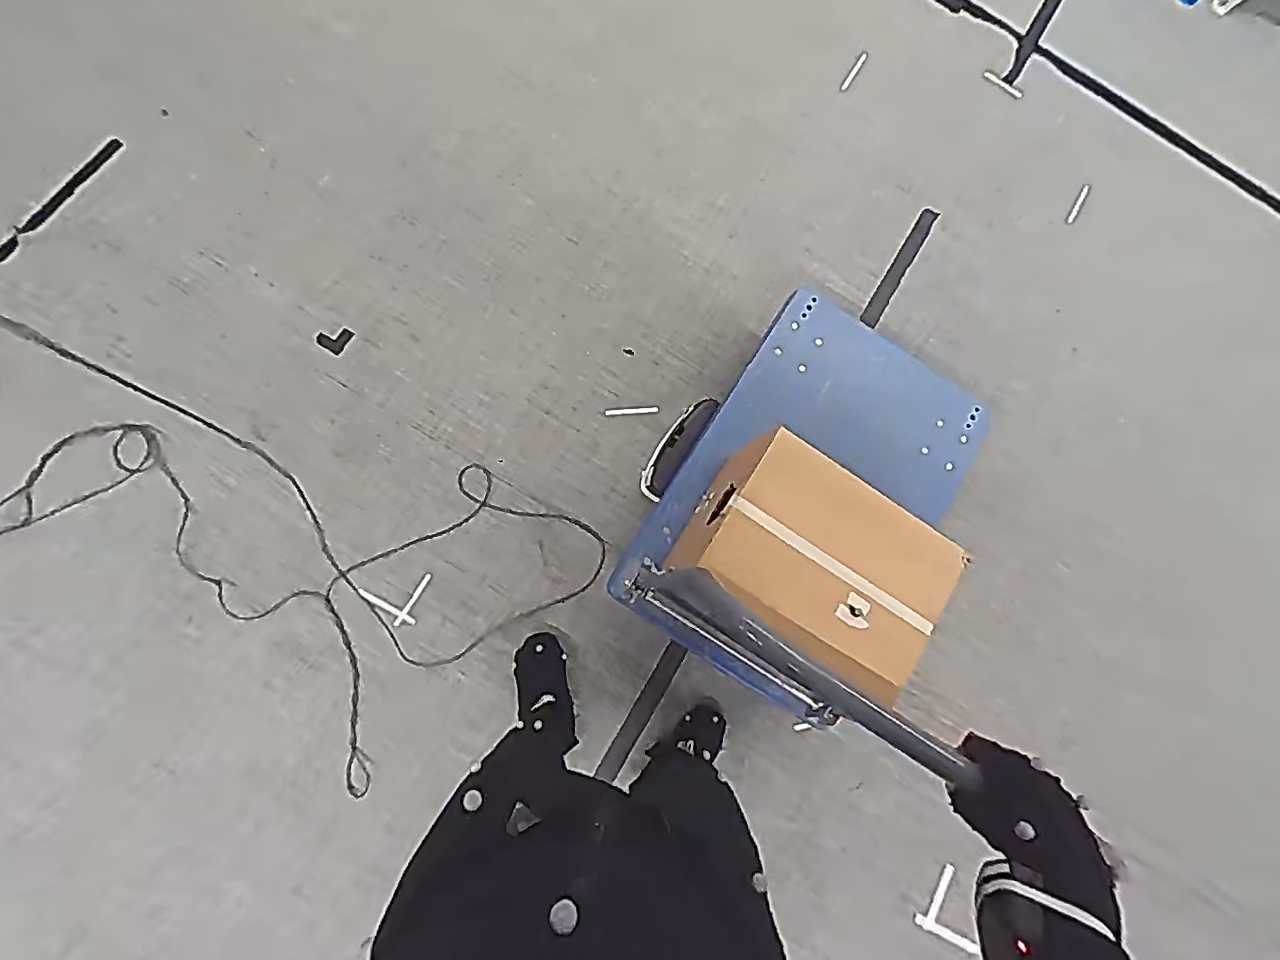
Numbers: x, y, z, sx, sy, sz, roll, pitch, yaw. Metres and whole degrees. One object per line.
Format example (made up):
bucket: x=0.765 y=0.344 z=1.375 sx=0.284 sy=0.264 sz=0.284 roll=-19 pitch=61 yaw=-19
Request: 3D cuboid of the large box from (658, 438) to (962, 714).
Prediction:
large box: x=0.298 y=0.176 z=1.052 sx=0.408 sy=0.320 sz=0.320 roll=34 pitch=80 yaw=-2
